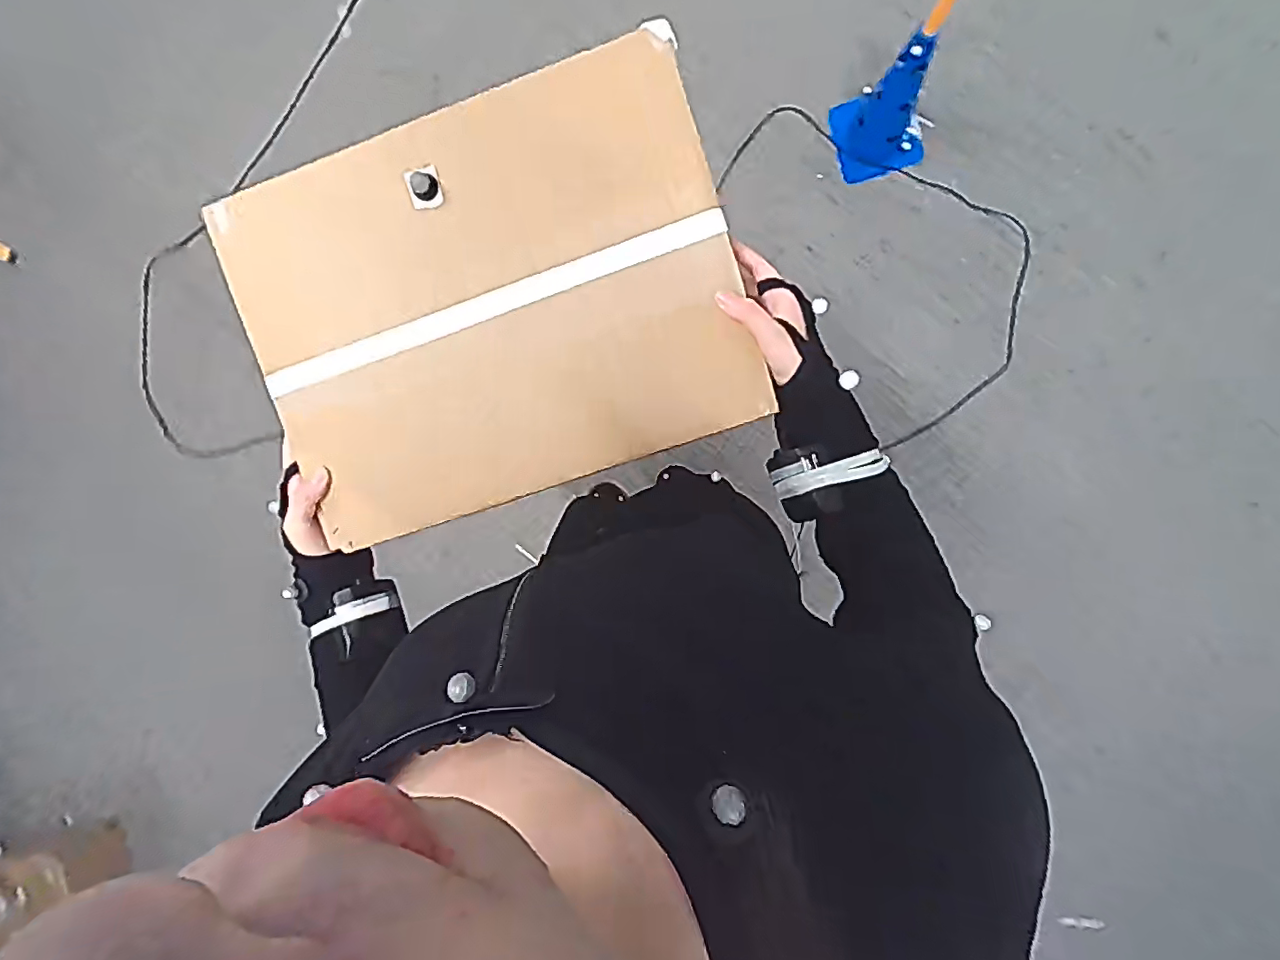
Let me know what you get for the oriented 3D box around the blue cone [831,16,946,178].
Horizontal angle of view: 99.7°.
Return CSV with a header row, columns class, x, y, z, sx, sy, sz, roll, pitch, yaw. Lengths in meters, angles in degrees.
class,x,y,z,sx,sy,sz,roll,pitch,yaw
blue cone,0.560,-0.852,1.168,0.193,0.380,0.192,-18,92,8
